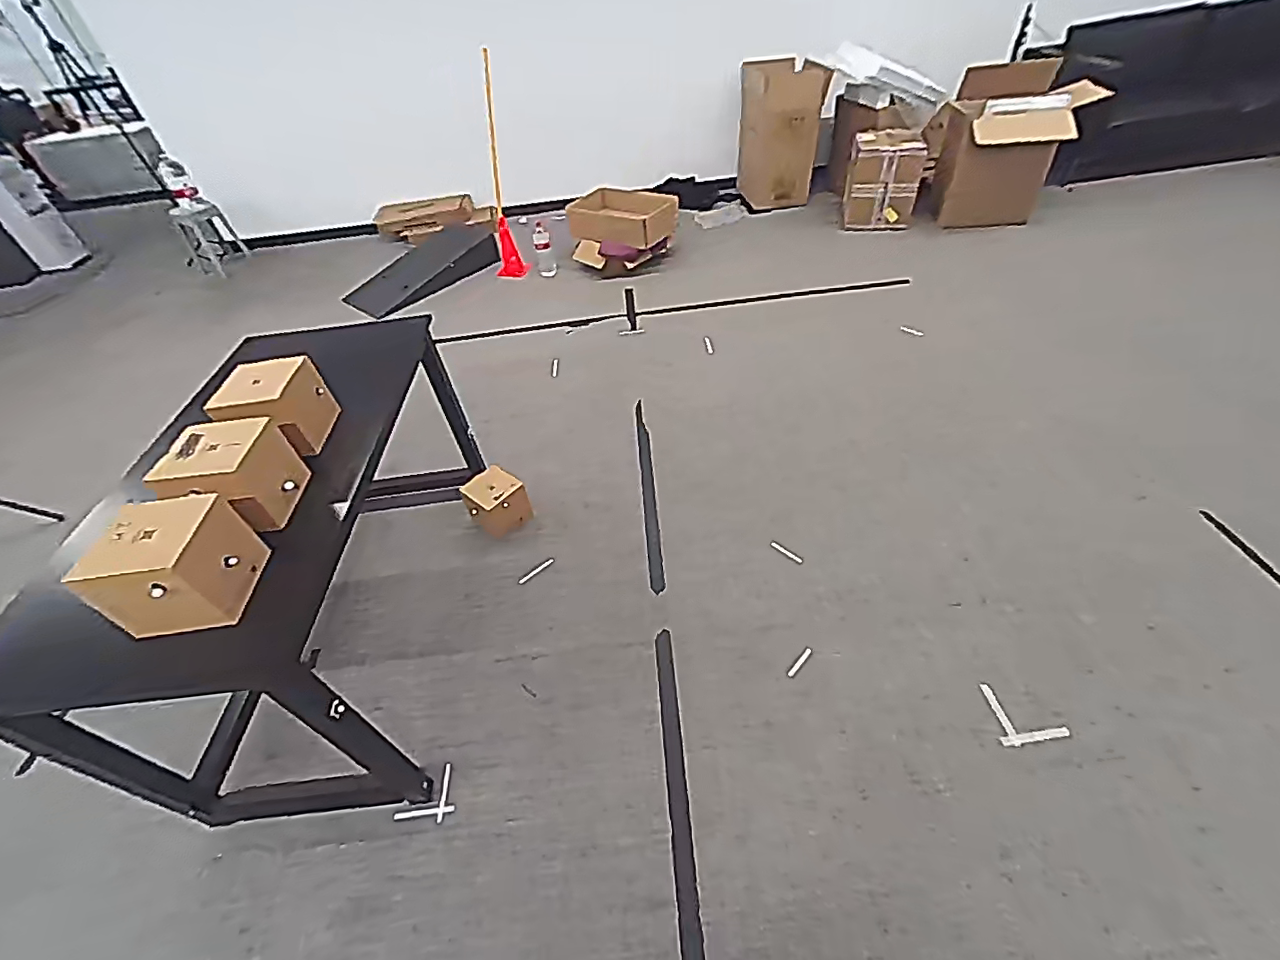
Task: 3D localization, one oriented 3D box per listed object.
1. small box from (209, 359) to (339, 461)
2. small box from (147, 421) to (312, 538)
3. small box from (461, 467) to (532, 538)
[{"bbox_3d":[-0.843,-0.157,1.271,0.168,0.176,0.179,-9,46,1],"label":"small box"},{"bbox_3d":[-0.821,0.002,1.104,0.179,0.176,0.168,-7,45,1],"label":"small box"},{"bbox_3d":[-0.530,0.088,2.015,0.179,0.176,0.168,27,55,30],"label":"small box"}]
